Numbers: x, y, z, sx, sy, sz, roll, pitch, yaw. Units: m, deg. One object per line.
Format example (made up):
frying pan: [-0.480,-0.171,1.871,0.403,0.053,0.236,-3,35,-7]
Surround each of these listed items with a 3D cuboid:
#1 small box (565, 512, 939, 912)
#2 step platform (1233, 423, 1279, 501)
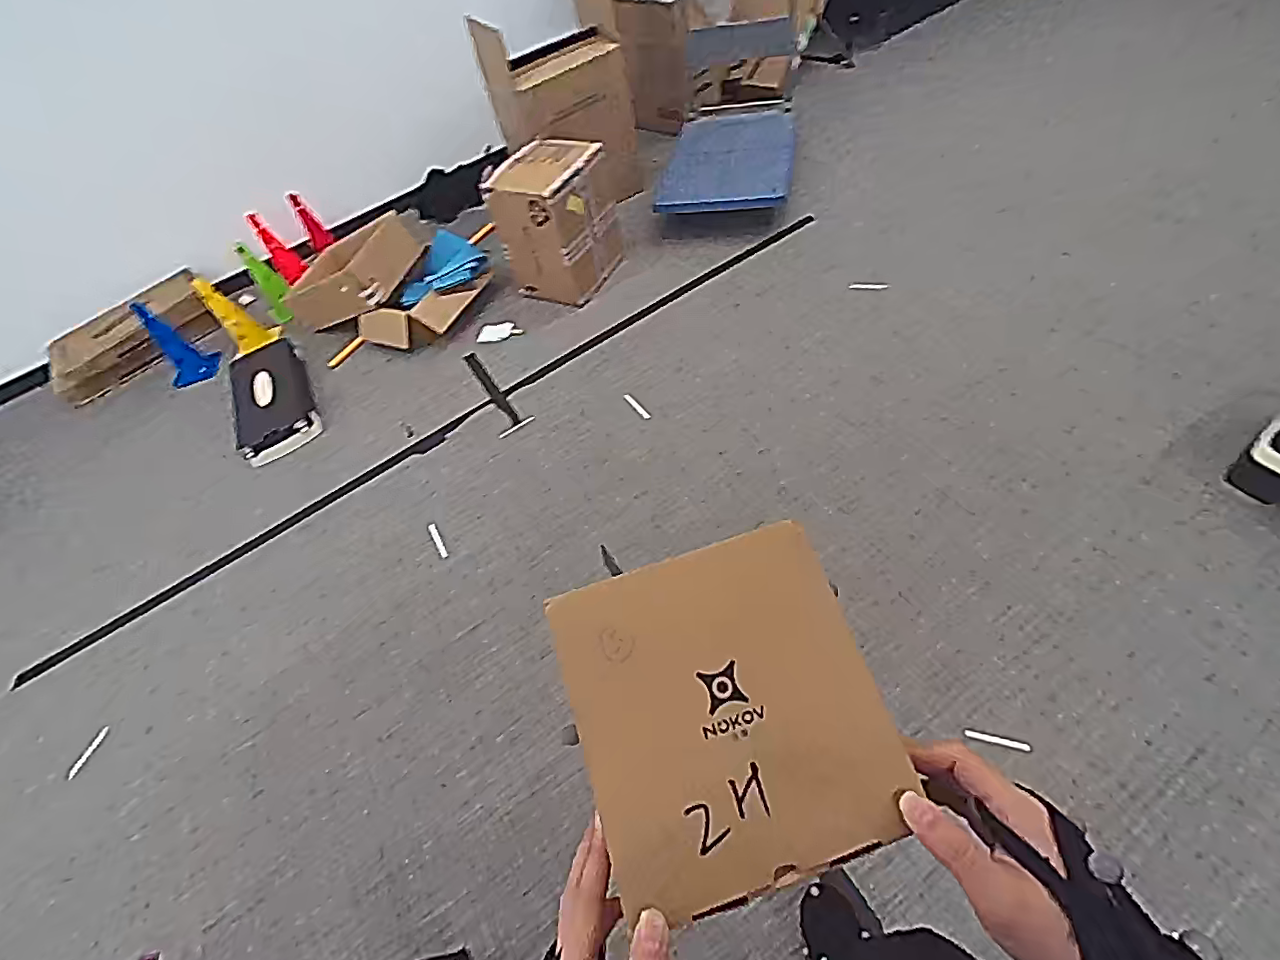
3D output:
small box: [0.056,0.147,0.377,0.168,0.176,0.179,-16,68,-4]
step platform: [1.772,0.070,1.146,0.286,0.204,0.684,-33,53,-13]
